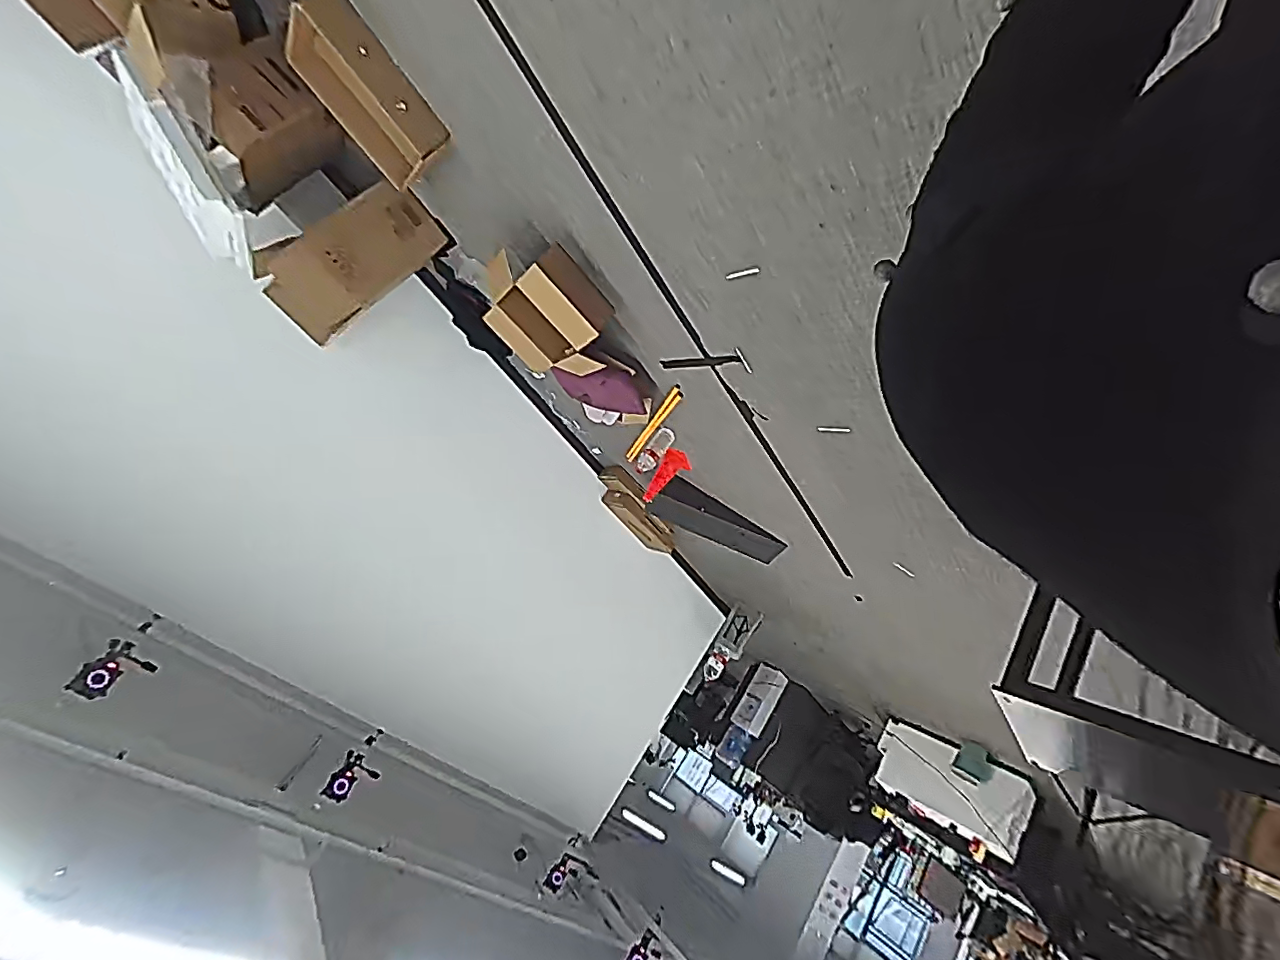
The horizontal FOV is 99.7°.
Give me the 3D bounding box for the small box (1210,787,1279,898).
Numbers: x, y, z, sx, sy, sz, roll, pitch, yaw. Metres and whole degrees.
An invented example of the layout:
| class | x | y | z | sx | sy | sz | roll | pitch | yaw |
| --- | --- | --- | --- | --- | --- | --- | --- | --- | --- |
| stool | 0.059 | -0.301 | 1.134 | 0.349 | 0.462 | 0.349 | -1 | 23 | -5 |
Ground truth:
| class | x | y | z | sx | sy | sz | roll | pitch | yaw |
| --- | --- | --- | --- | --- | --- | --- | --- | --- | --- |
| small box | 1.486 | 0.864 | 1.270 | 0.168 | 0.176 | 0.179 | 47 | 157 | -27 |
